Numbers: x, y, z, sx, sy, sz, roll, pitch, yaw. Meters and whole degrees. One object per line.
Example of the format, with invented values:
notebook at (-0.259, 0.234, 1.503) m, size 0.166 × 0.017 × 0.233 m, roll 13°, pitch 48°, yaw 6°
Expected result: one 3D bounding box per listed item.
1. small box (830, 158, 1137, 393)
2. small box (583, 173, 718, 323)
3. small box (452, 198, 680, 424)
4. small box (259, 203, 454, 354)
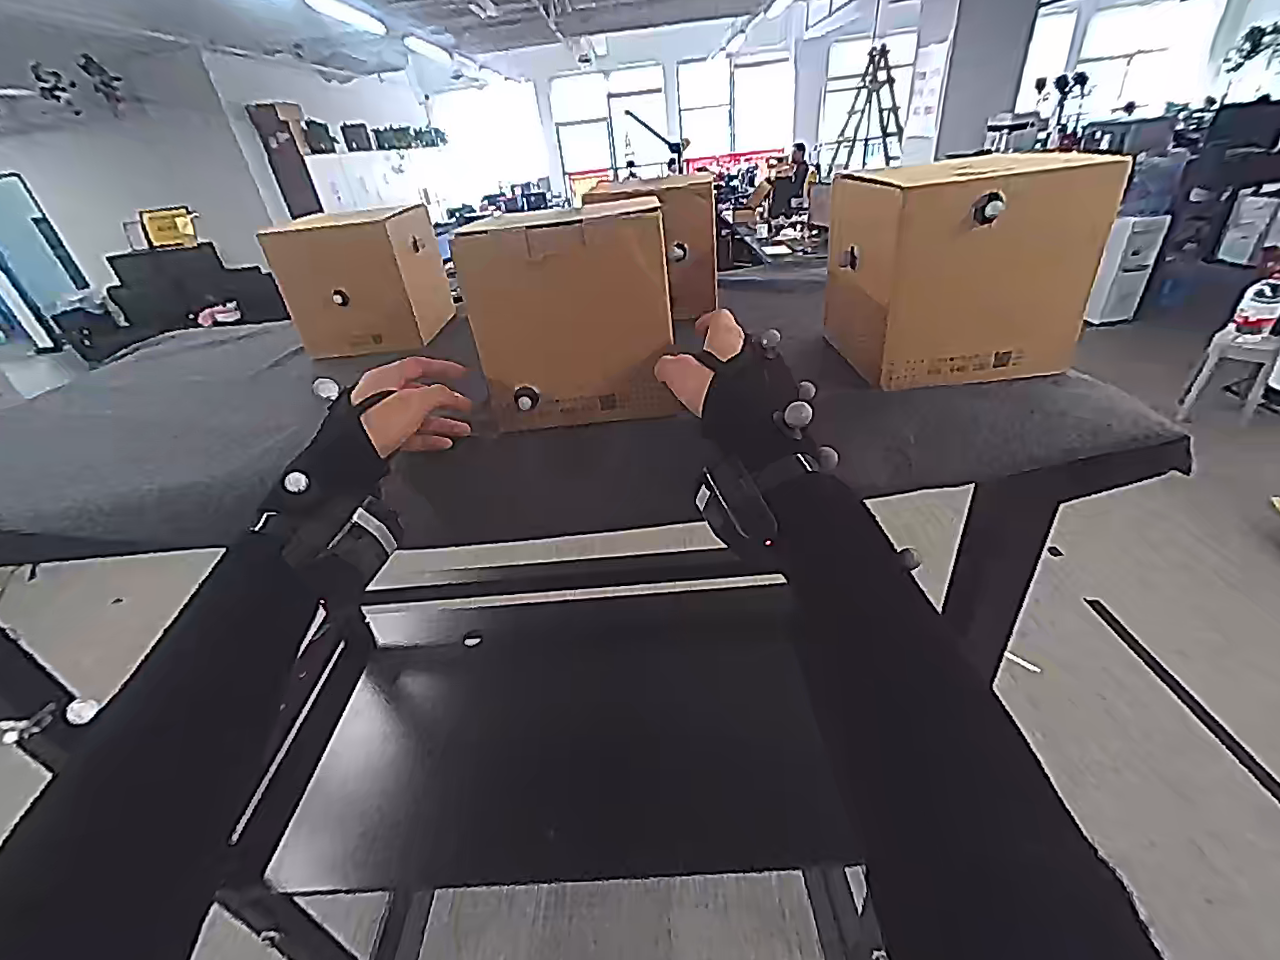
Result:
small box at (0.286, -0.193, 0.505) m, size 0.168 × 0.176 × 0.179 m, roll -6°, pitch 31°, yaw 3°
small box at (0.025, -0.326, 0.768) m, size 0.168 × 0.176 × 0.179 m, roll -1°, pitch 32°, yaw 7°
small box at (-0.053, -0.159, 0.514) m, size 0.168 × 0.176 × 0.179 m, roll -5°, pitch 30°, yaw 3°
small box at (-0.386, -0.286, 0.778) m, size 0.168 × 0.176 × 0.179 m, roll -5°, pitch 33°, yaw 2°
